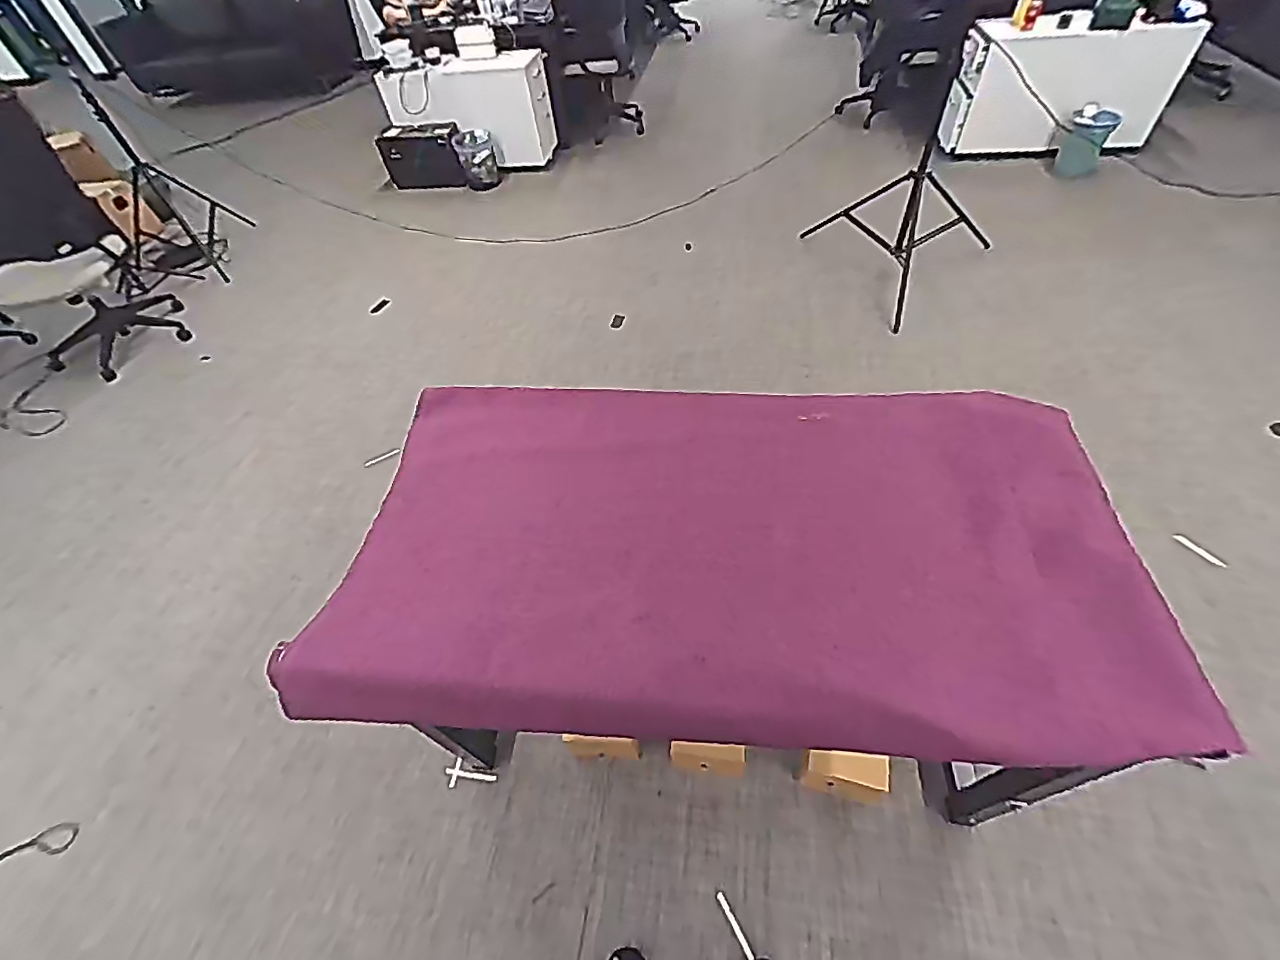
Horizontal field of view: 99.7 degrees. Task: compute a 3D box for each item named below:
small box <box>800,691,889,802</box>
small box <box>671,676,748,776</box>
[{"bbox_3d":[0.473,0.626,1.262,0.168,0.176,0.179,10,52,14],"label":"small box"},{"bbox_3d":[0.170,0.601,1.313,0.168,0.176,0.179,5,51,9],"label":"small box"}]
